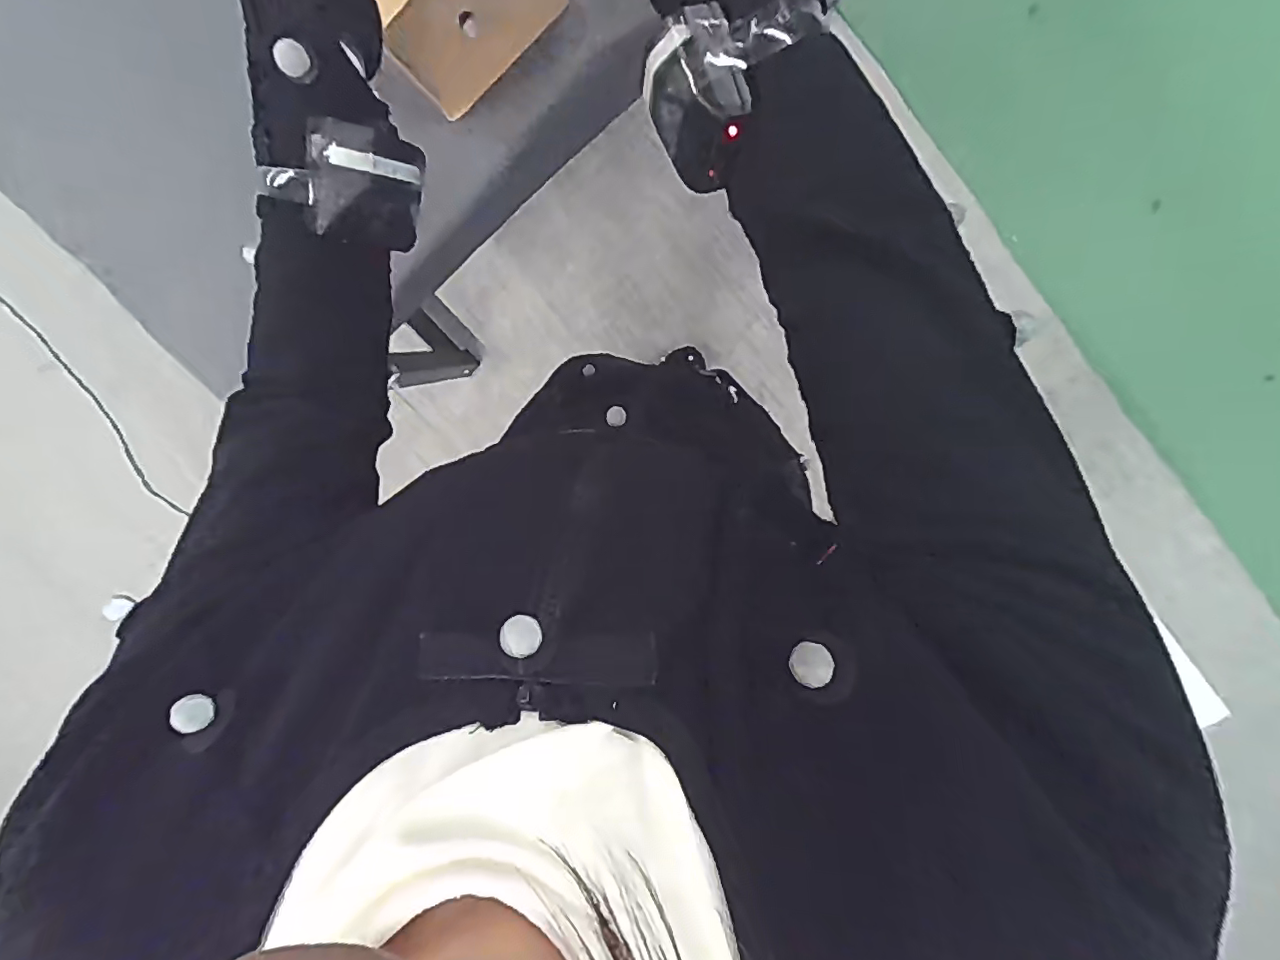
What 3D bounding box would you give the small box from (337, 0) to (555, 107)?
[{"bbox_3d":[-0.198,-0.495,0.493,0.179,0.176,0.168,-38,98,13],"label":"small box"}]
